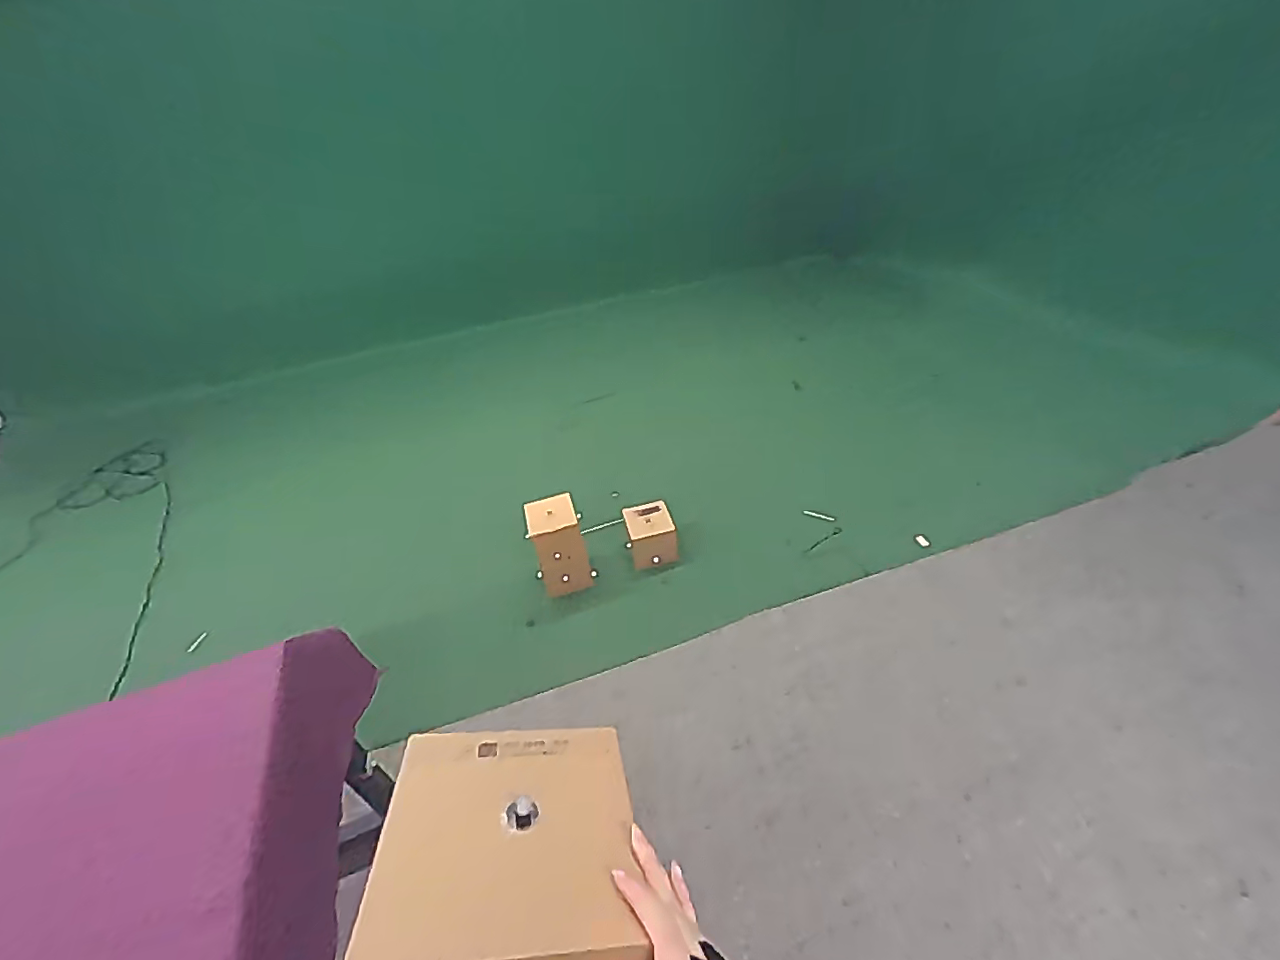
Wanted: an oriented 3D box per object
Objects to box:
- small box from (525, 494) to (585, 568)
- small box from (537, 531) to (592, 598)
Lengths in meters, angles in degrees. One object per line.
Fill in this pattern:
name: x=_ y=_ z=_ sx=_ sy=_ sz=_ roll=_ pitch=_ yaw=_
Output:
small box: x=-0.297 y=0.179 z=1.895 sx=0.168 sy=0.176 sz=0.179 roll=-15 pitch=39 yaw=-8
small box: x=-0.280 y=0.305 z=1.998 sx=0.179 sy=0.176 sz=0.168 roll=-16 pitch=38 yaw=-8
